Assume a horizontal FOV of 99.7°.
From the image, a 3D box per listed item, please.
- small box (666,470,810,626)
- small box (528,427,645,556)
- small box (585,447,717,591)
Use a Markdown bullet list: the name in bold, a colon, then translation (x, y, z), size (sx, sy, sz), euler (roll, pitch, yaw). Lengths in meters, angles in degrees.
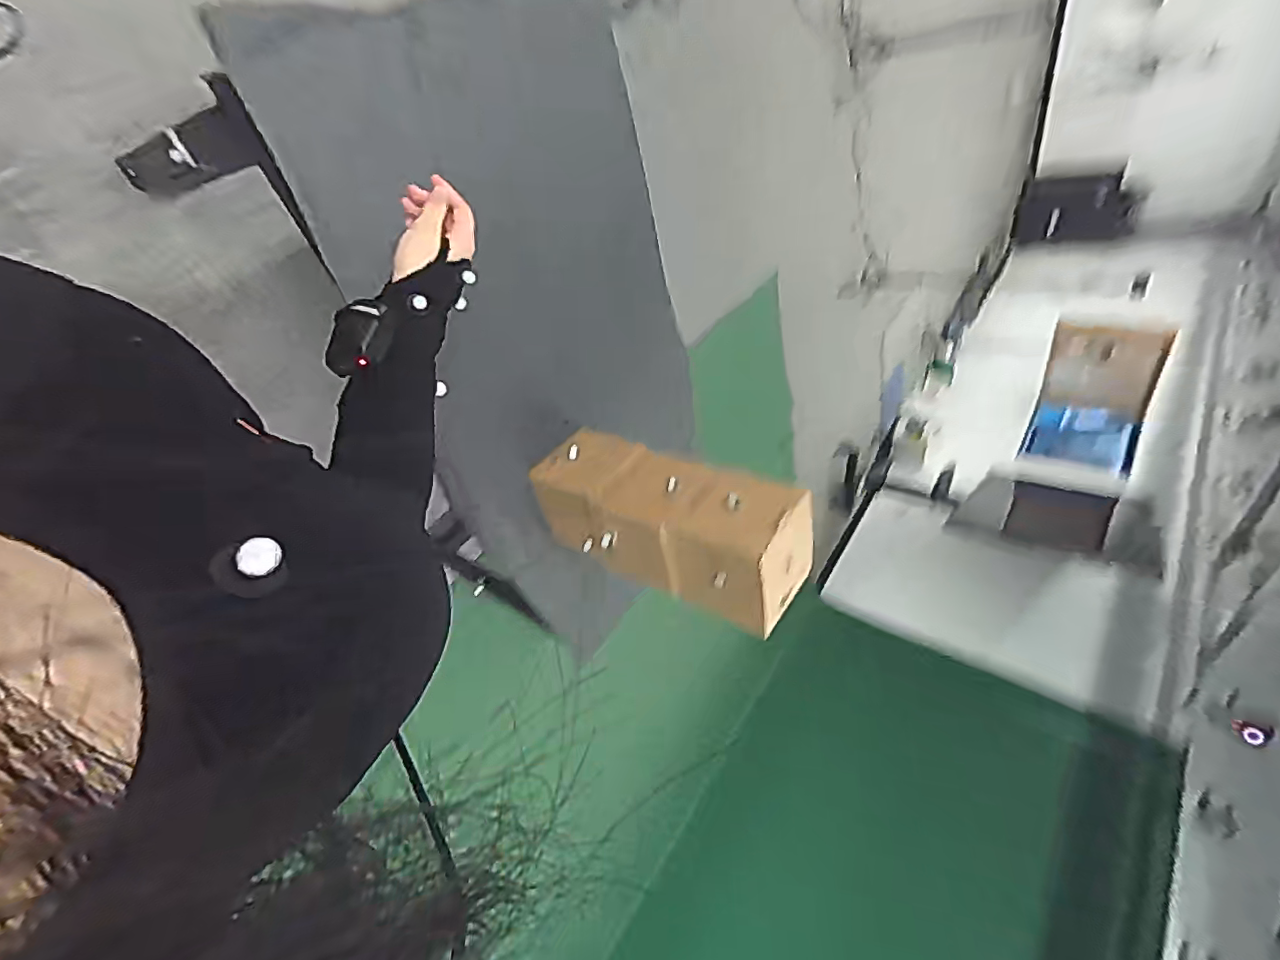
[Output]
- **small box**: translation (0.160, 0.098, 0.876), size (0.168, 0.176, 0.179), euler (-42, 132, -35)
- **small box**: translation (-0.089, 0.017, 1.071), size (0.168, 0.176, 0.179), euler (-46, 136, -33)
- **small box**: translation (0.032, 0.059, 0.971), size (0.179, 0.176, 0.168), euler (-43, 133, -33)
